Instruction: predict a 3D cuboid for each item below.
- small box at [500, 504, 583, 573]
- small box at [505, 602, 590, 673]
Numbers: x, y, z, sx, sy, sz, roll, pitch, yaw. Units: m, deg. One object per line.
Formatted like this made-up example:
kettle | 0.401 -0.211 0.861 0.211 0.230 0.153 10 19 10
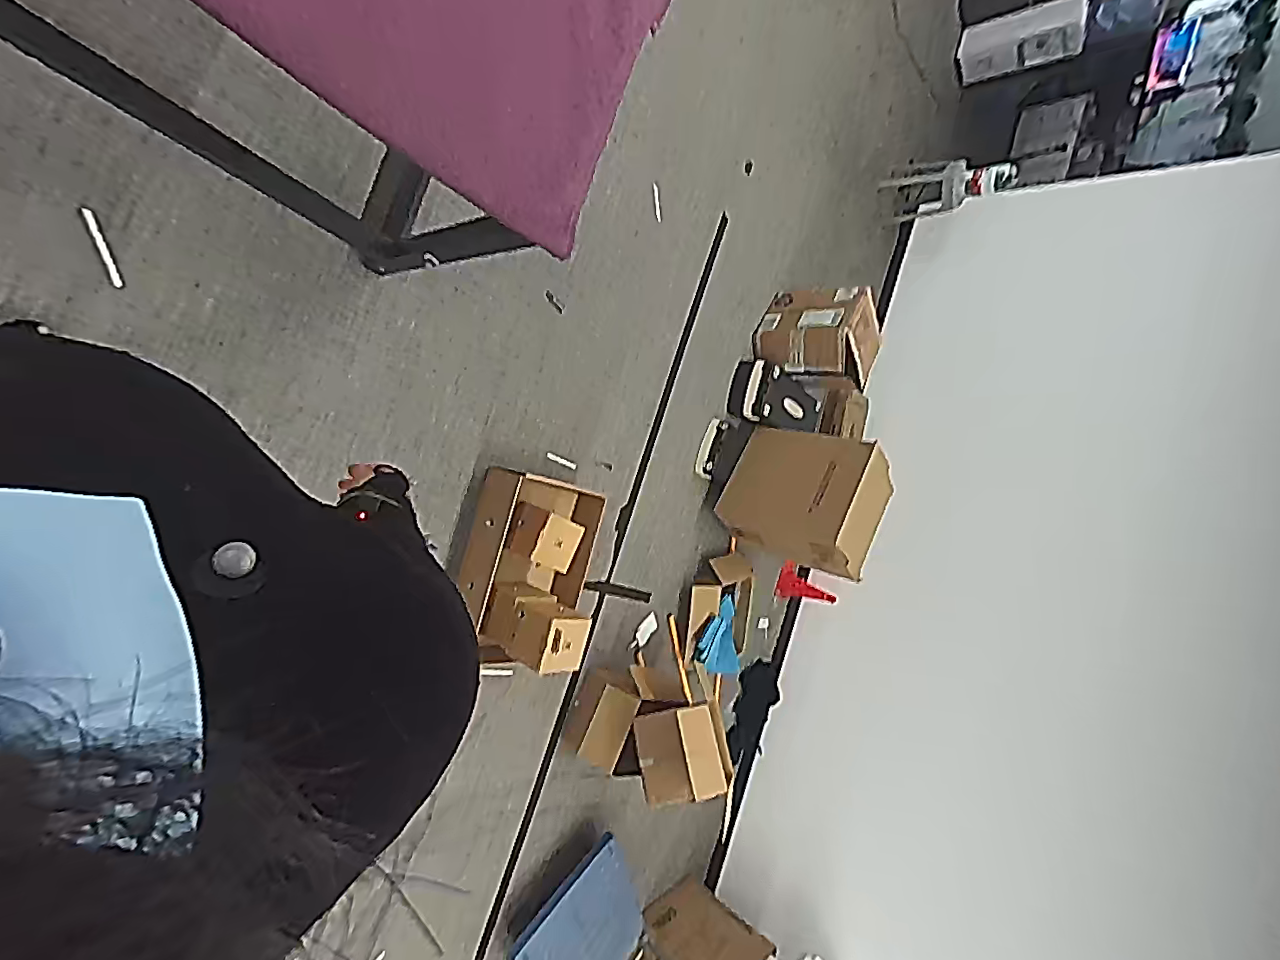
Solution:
small box | -0.333 0.193 1.818 0.179 0.176 0.168 34 76 -48
small box | -0.292 0.489 1.692 0.179 0.176 0.168 19 86 -51
